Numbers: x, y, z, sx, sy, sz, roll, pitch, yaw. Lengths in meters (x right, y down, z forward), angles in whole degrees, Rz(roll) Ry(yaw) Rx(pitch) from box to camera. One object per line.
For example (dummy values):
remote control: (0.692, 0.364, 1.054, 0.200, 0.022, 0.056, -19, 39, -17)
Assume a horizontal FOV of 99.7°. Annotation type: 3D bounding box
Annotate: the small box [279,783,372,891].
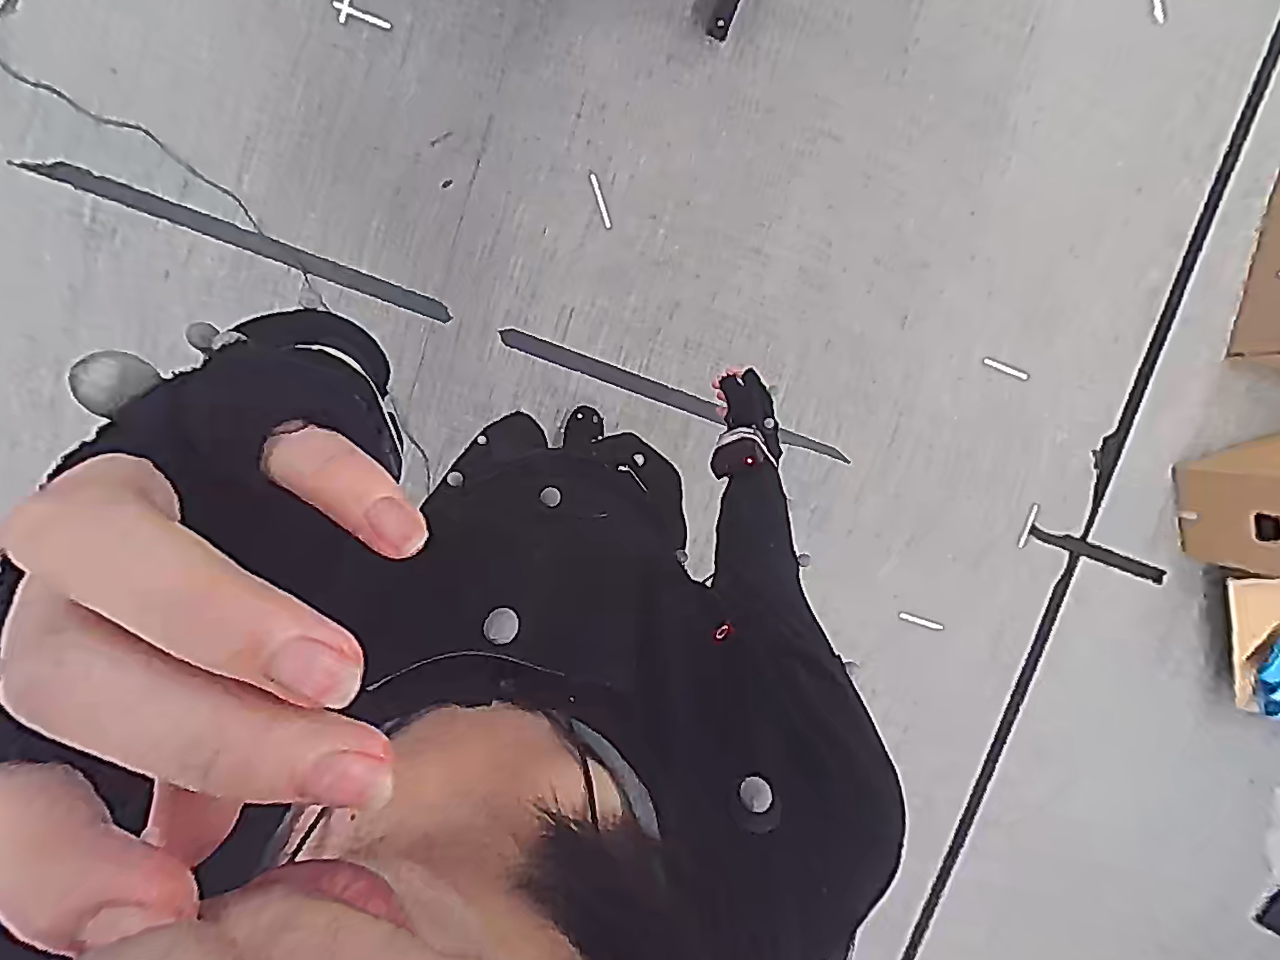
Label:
small box: (-0.842, 0.958, 1.462, 0.168, 0.176, 0.179, 0, 96, -7)
